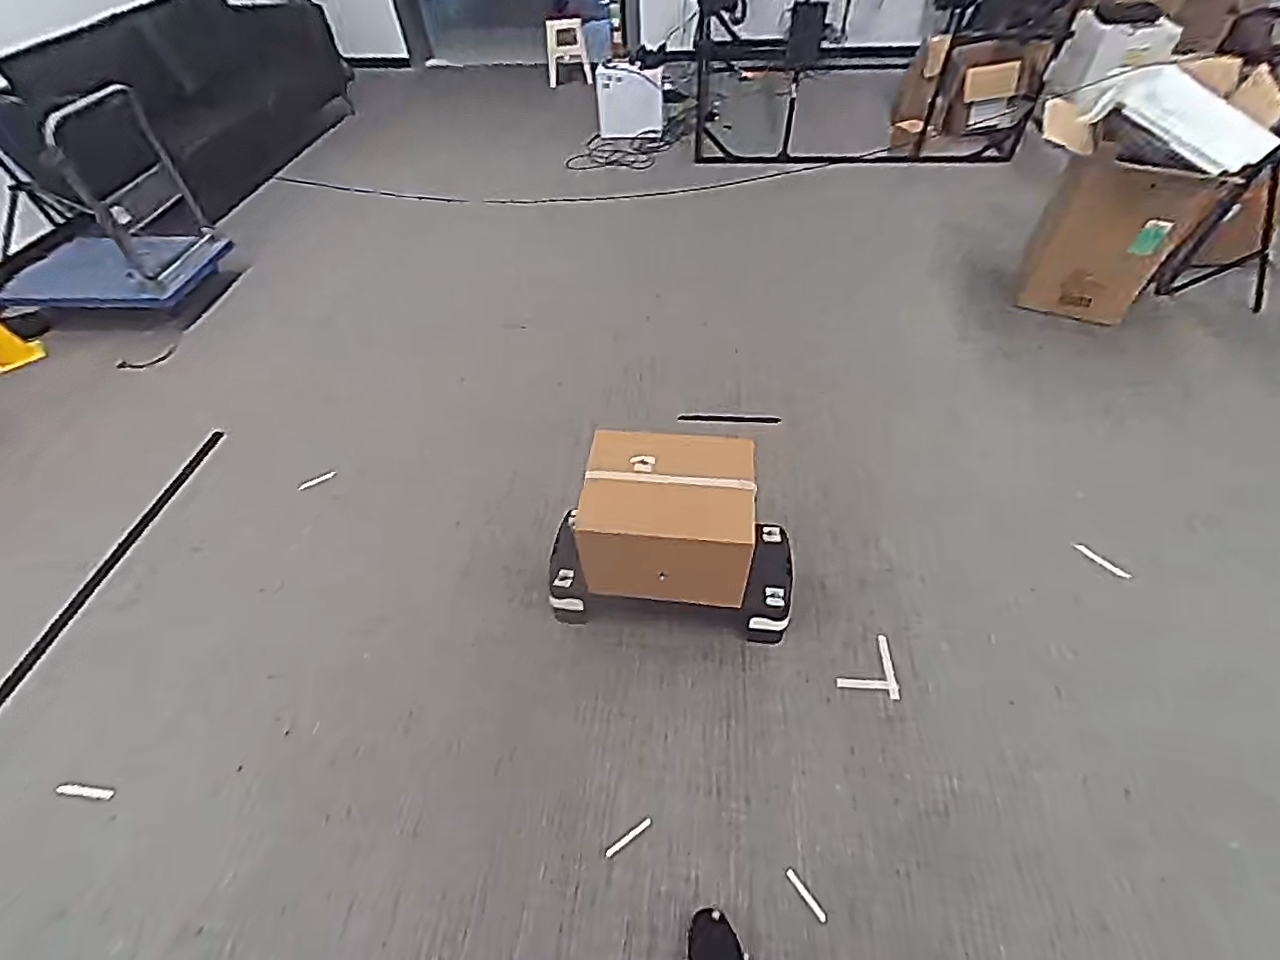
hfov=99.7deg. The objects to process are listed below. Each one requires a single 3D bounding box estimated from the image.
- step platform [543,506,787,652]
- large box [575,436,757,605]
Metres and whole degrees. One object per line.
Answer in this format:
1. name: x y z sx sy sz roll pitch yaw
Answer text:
1. step platform: 0.071 0.270 1.554 0.684 0.204 0.286 7 51 10
2. large box: 0.079 0.107 1.378 0.408 0.320 0.320 3 50 7
